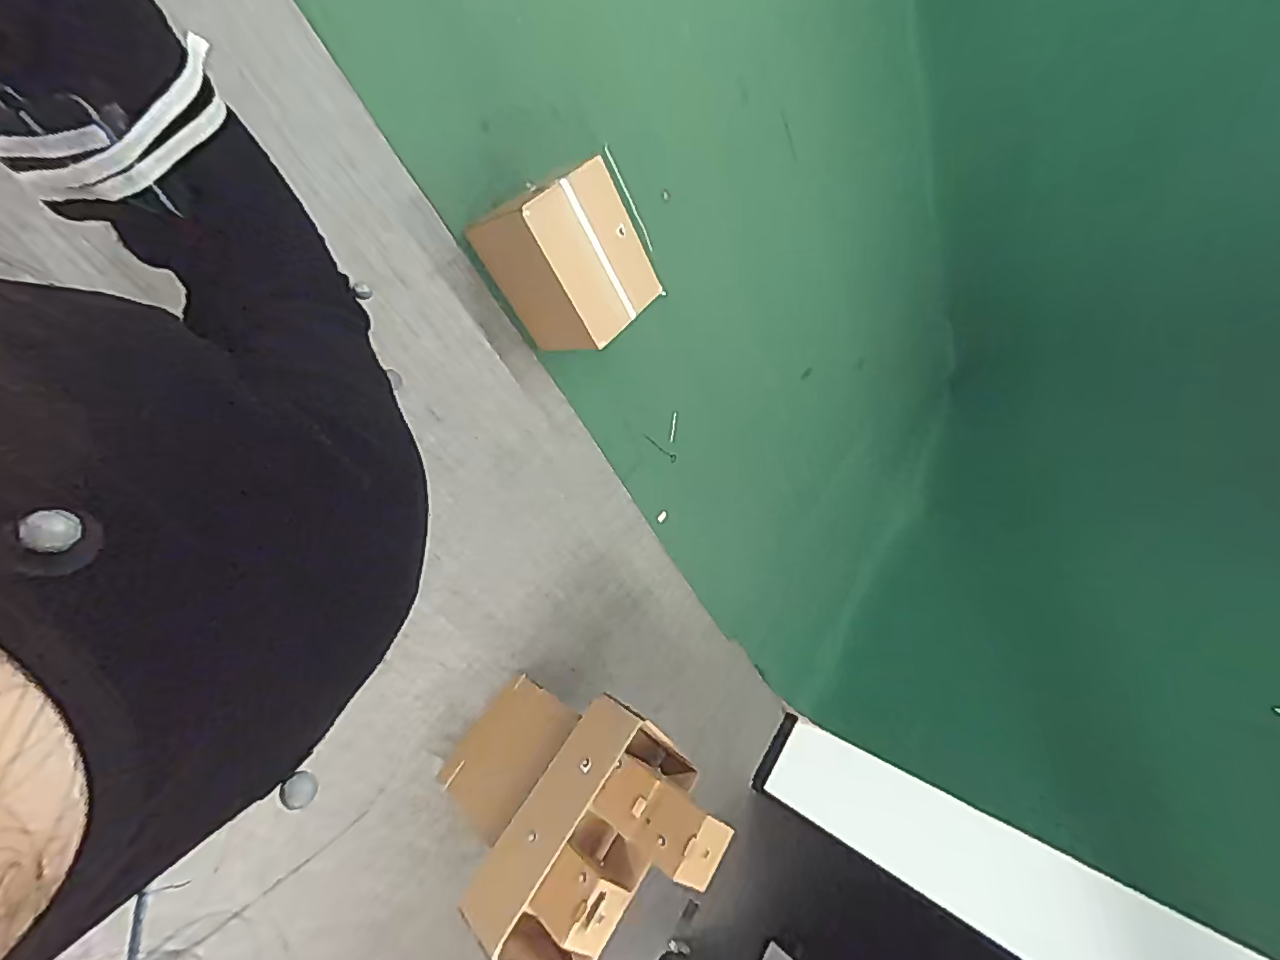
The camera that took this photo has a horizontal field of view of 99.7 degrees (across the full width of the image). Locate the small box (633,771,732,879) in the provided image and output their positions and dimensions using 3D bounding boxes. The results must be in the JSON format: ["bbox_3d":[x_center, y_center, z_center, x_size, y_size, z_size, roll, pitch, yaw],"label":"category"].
[{"bbox_3d":[0.112,0.918,1.451,0.168,0.176,0.179,-53,131,-19],"label":"small box"}]
